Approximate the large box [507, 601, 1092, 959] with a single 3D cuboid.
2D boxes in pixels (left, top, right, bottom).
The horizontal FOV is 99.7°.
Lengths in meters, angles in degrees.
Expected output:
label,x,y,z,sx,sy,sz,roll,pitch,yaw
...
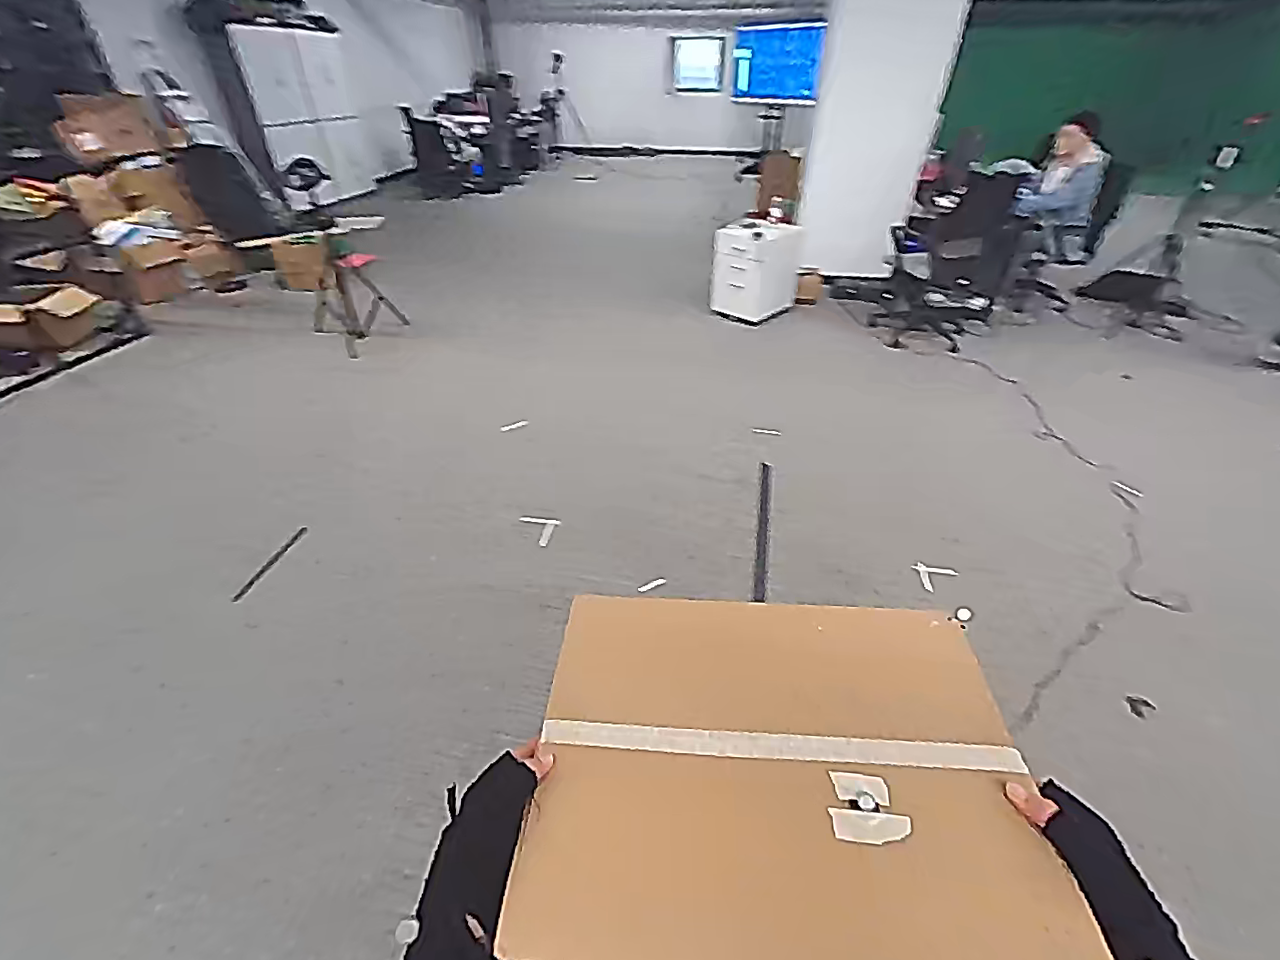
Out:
label,x,y,z,sx,sy,sz,roll,pitch,yaw
large box,0.116,0.349,0.570,0.408,0.320,0.320,1,39,5
